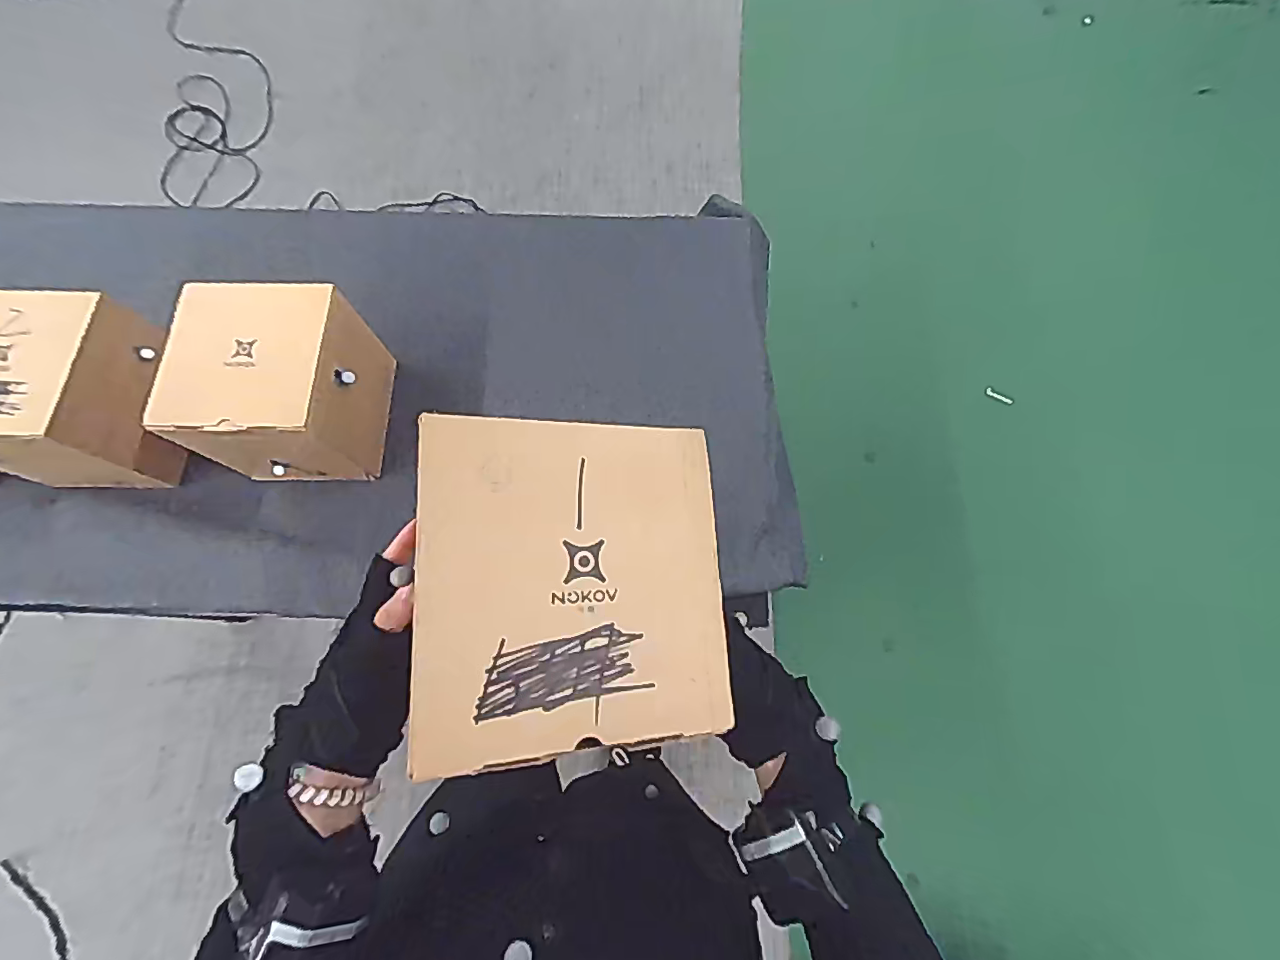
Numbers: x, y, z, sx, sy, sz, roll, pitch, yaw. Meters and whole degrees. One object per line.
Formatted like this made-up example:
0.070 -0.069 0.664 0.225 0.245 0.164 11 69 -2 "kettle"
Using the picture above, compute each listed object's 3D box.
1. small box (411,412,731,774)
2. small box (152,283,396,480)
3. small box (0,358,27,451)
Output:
-0.057 0.069 0.361 0.168 0.176 0.179 2 76 -21 "small box"
-0.412 -0.109 0.647 0.168 0.176 0.179 0 73 -1 "small box"
-0.899 -0.096 0.630 0.168 0.176 0.179 0 71 -2 "small box"
